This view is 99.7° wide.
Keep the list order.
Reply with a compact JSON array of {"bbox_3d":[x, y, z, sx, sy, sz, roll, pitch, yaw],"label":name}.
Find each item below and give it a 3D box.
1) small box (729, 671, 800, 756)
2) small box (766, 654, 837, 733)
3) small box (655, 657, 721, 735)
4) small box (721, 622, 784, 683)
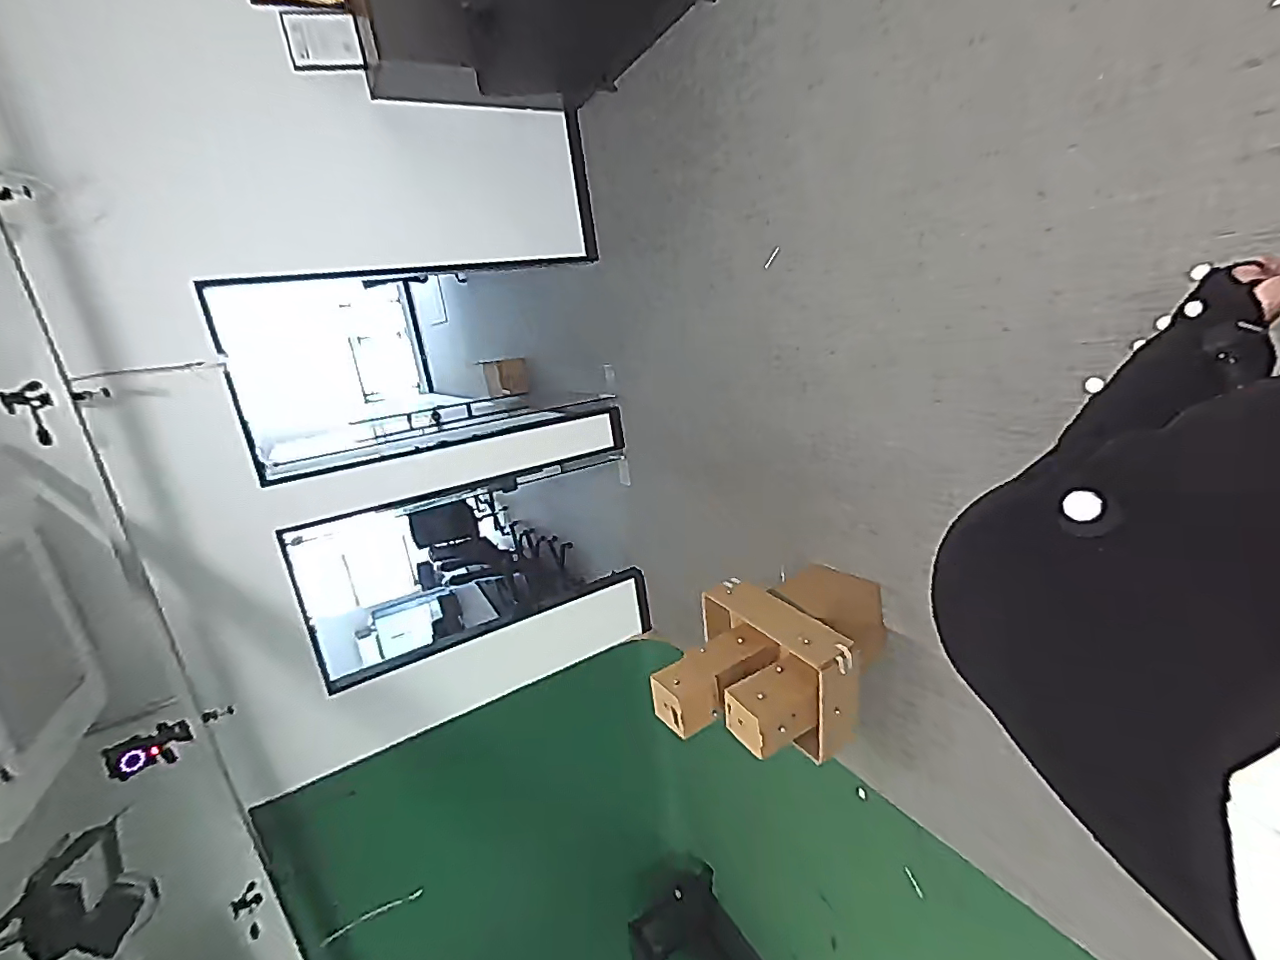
[{"bbox_3d":[0.421,0.775,1.818,0.179,0.176,0.168,25,126,56],"label":"small box"},{"bbox_3d":[0.561,0.734,1.891,0.179,0.176,0.168,27,127,57],"label":"small box"},{"bbox_3d":[0.176,0.759,1.923,0.179,0.176,0.168,17,119,56],"label":"small box"},{"bbox_3d":[0.438,0.674,2.104,0.179,0.176,0.168,20,121,55],"label":"small box"}]
